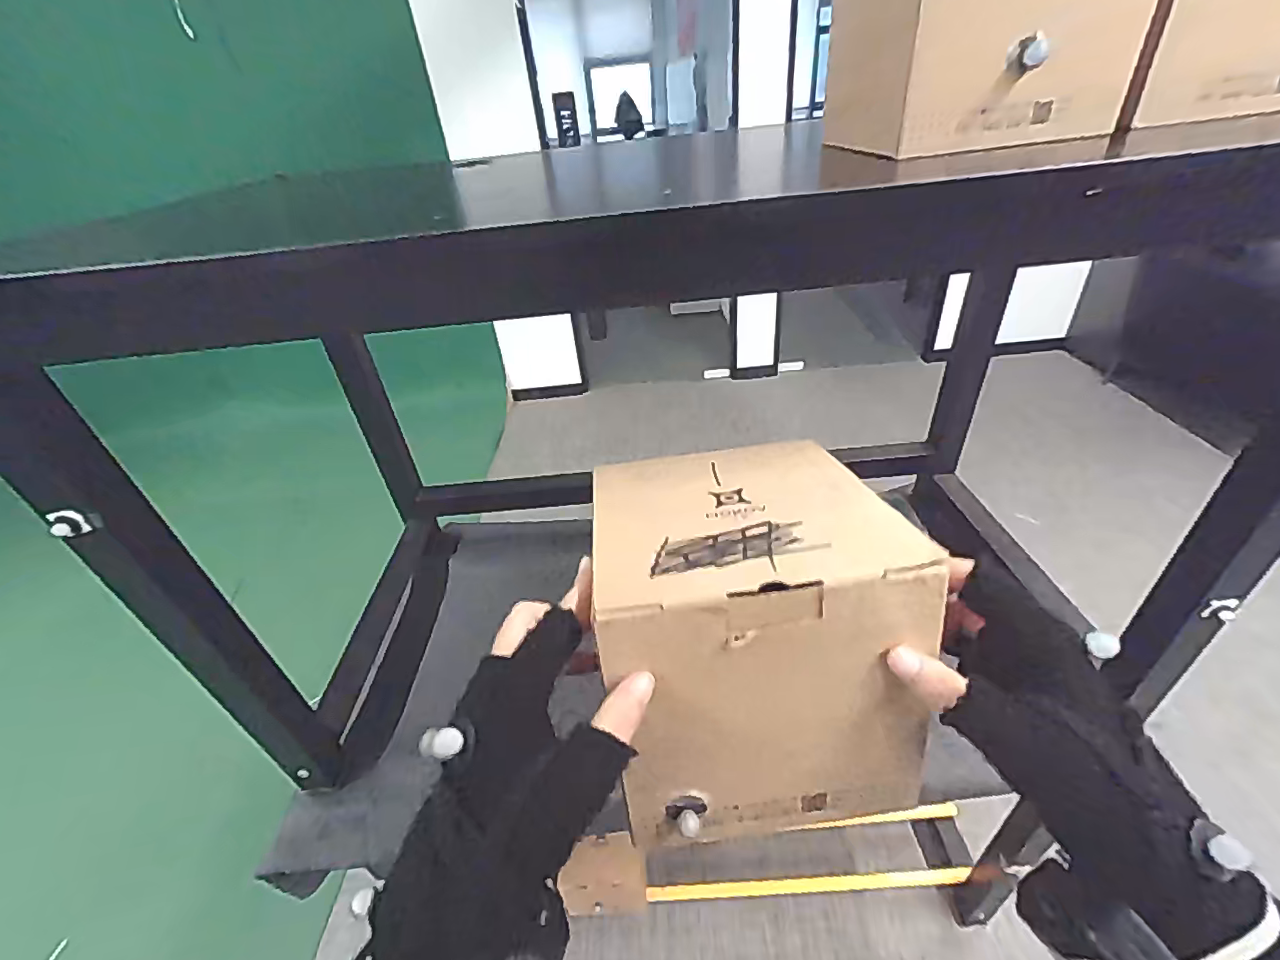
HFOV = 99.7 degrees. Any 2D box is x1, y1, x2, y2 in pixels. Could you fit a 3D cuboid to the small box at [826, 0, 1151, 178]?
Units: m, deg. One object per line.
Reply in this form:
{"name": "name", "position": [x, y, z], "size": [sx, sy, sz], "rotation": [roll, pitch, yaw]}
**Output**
{"name": "small box", "position": [0.263, -0.353, 0.440], "size": [0.168, 0.176, 0.179], "rotation": [-7, 35, 1]}
